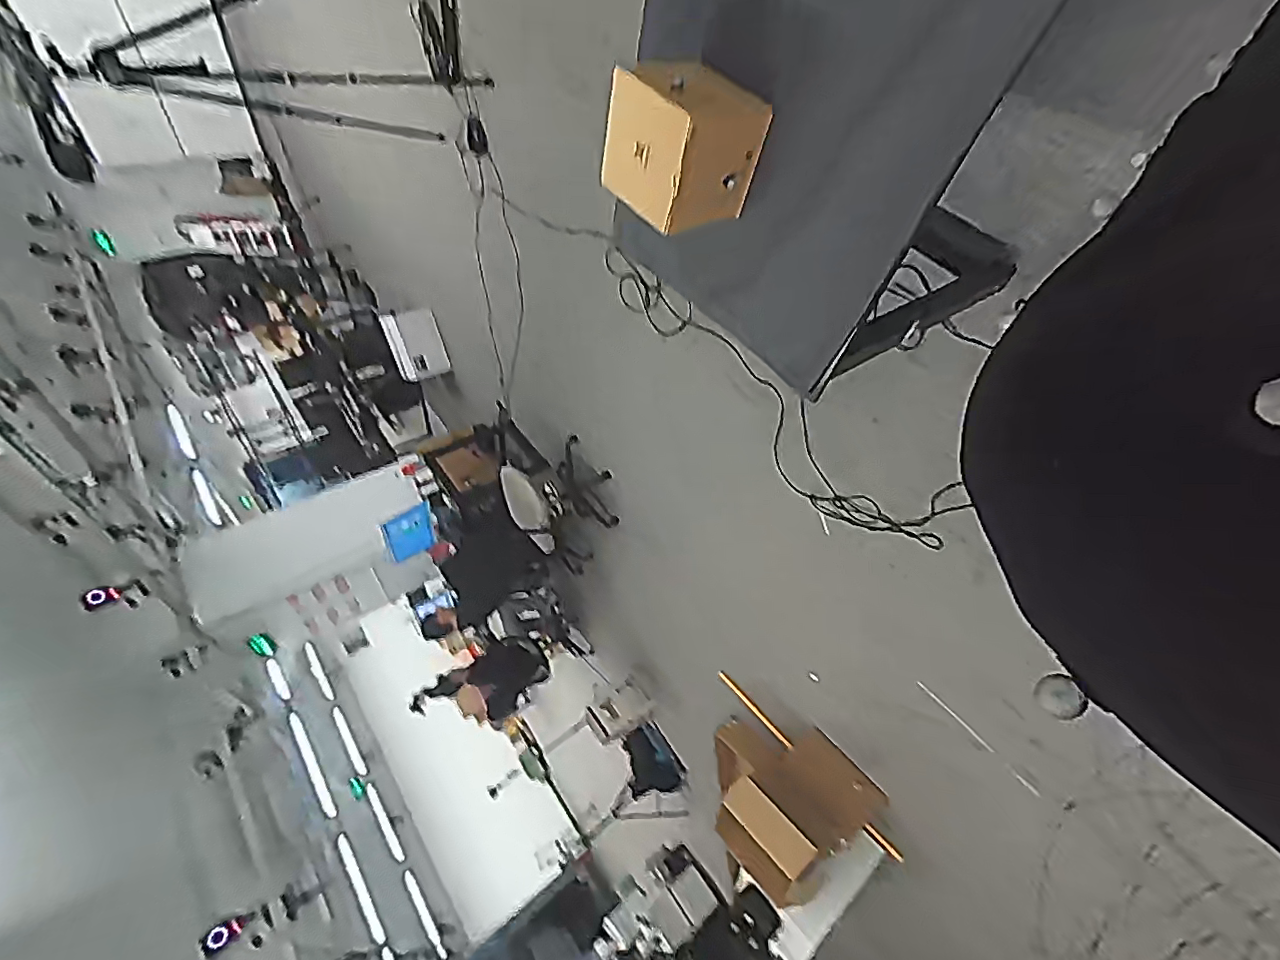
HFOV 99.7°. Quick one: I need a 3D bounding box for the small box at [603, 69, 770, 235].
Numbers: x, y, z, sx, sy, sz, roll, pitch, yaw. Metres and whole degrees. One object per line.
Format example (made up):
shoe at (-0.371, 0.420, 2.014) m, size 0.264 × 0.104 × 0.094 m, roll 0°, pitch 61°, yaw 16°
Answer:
small box at (0.067, -0.518, 0.851) m, size 0.179 × 0.176 × 0.168 m, roll 48°, pitch 148°, yaw 23°
